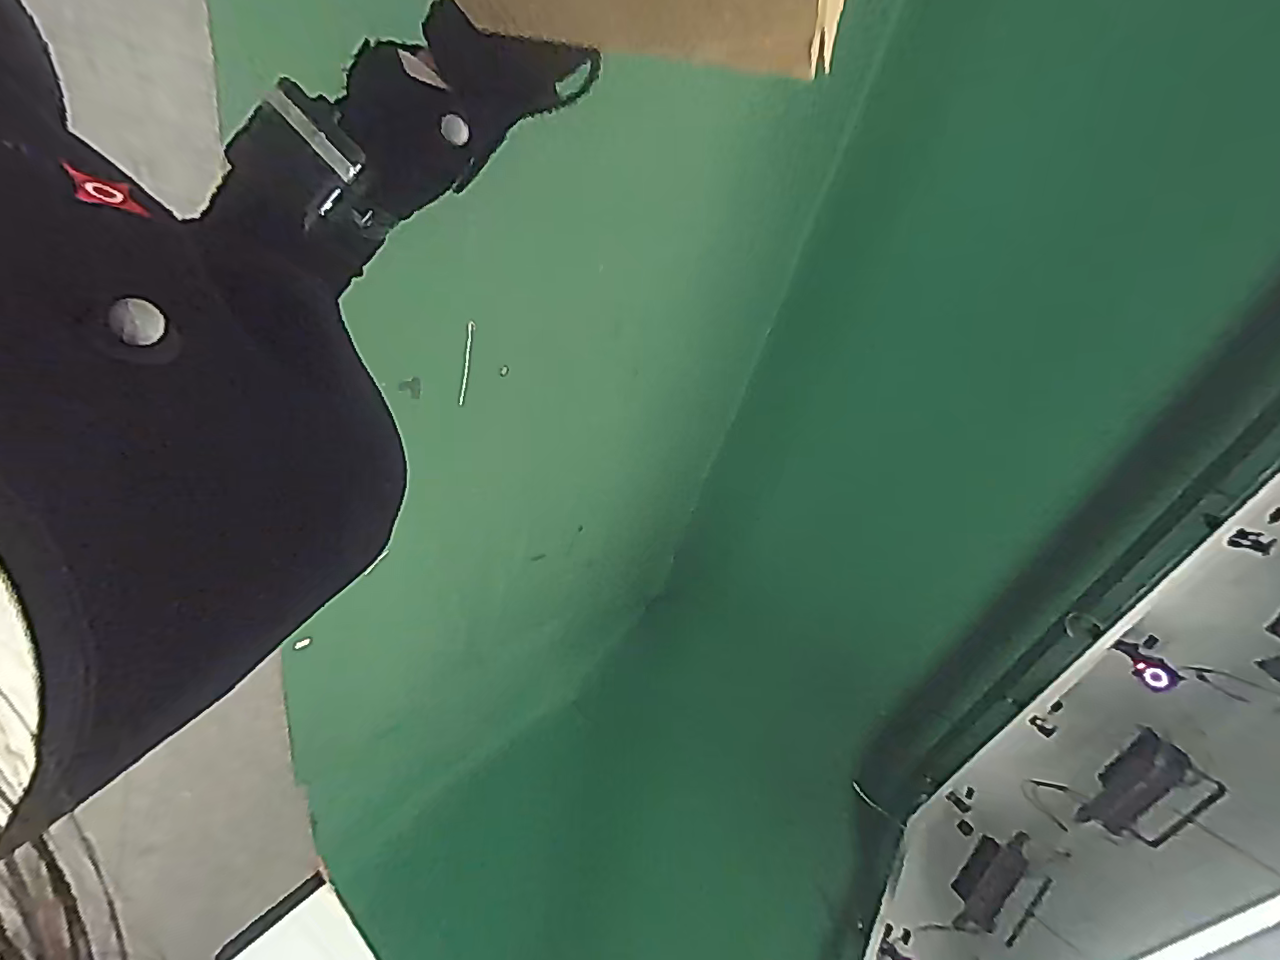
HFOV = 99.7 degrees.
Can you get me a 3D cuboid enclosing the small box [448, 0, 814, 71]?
[{"bbox_3d":[-0.010,-0.270,0.159,0.168,0.176,0.179,-36,140,-74],"label":"small box"}]
